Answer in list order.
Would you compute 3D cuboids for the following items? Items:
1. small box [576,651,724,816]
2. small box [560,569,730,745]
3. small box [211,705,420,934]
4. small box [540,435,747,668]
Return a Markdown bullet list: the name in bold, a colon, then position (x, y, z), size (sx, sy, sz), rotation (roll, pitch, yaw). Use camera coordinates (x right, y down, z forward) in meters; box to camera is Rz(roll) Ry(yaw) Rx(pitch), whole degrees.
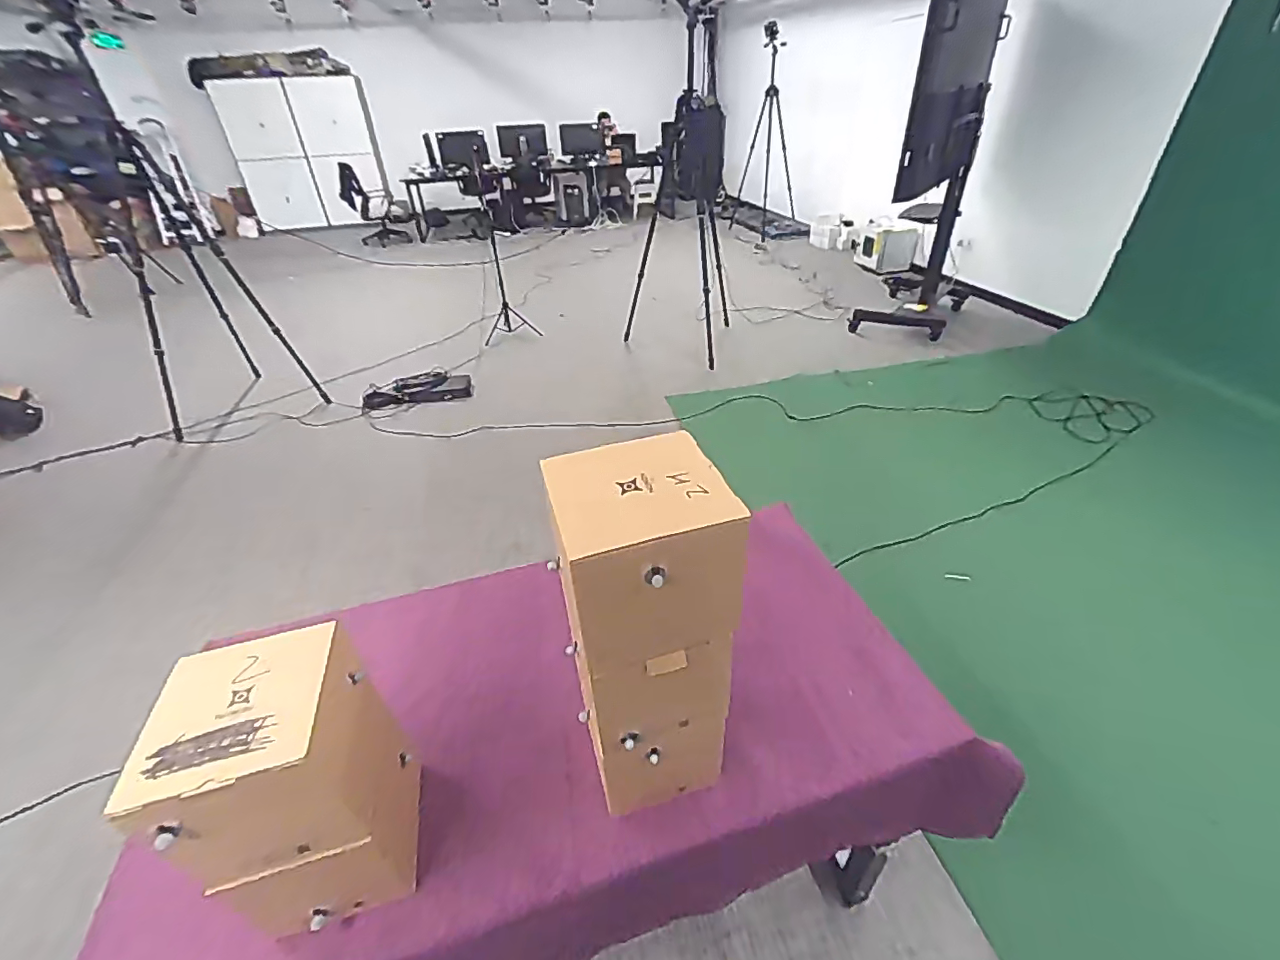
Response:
- **small box**: position (0.010, 0.341, 0.784), size (0.168, 0.176, 0.179), rotation (-13, 36, -11)
- **small box**: position (0.004, 0.207, 0.689), size (0.168, 0.176, 0.179), rotation (-13, 36, -13)
- **small box**: position (-0.391, 0.429, 0.693), size (0.168, 0.176, 0.179), rotation (-12, 38, -11)
- **small box**: position (0.000, 0.076, 0.589), size (0.179, 0.176, 0.168), rotation (-12, 38, -12)
